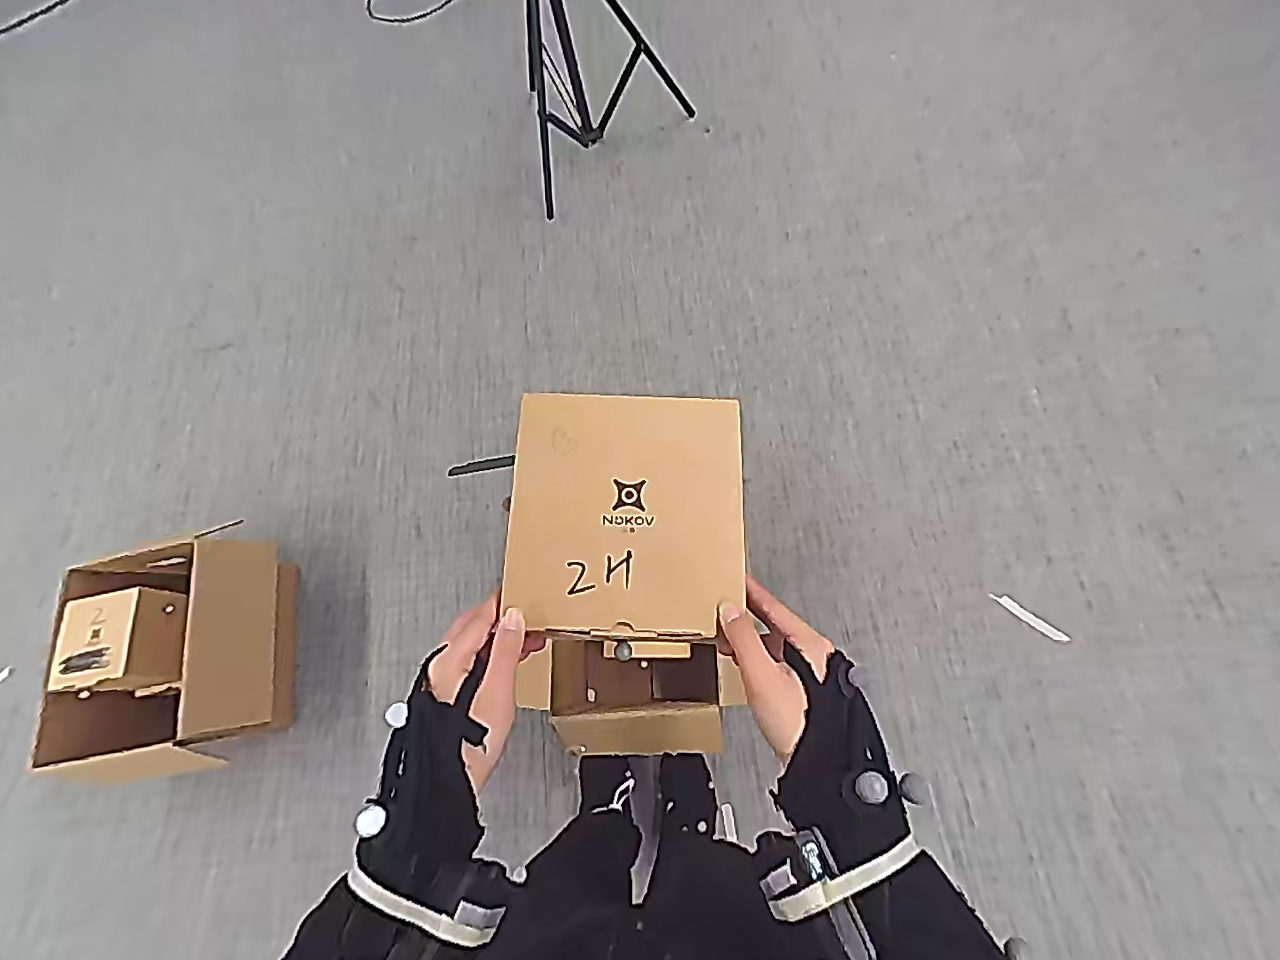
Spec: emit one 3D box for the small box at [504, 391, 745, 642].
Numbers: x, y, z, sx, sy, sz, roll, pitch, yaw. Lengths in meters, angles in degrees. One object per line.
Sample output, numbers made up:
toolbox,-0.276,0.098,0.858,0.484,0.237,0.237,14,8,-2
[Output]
small box,-0.010,0.042,0.465,0.168,0.176,0.179,2,72,-1
